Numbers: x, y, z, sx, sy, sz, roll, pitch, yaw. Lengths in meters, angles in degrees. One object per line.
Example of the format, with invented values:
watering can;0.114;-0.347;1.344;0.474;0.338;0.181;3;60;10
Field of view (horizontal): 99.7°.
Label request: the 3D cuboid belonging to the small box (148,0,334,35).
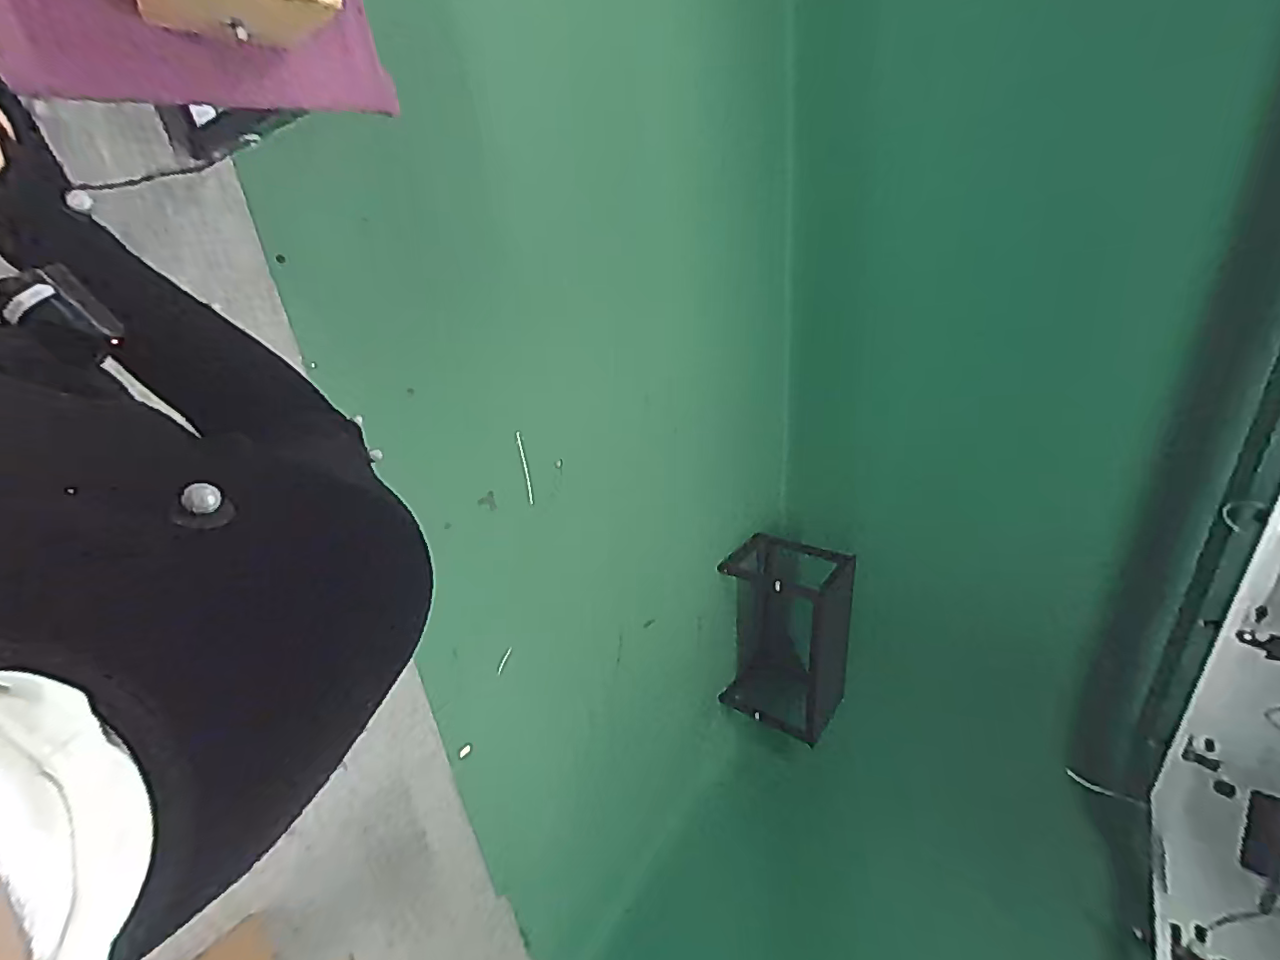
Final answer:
small box;-0.472;-0.637;0.596;0.168;0.176;0.179;-30;124;-43
